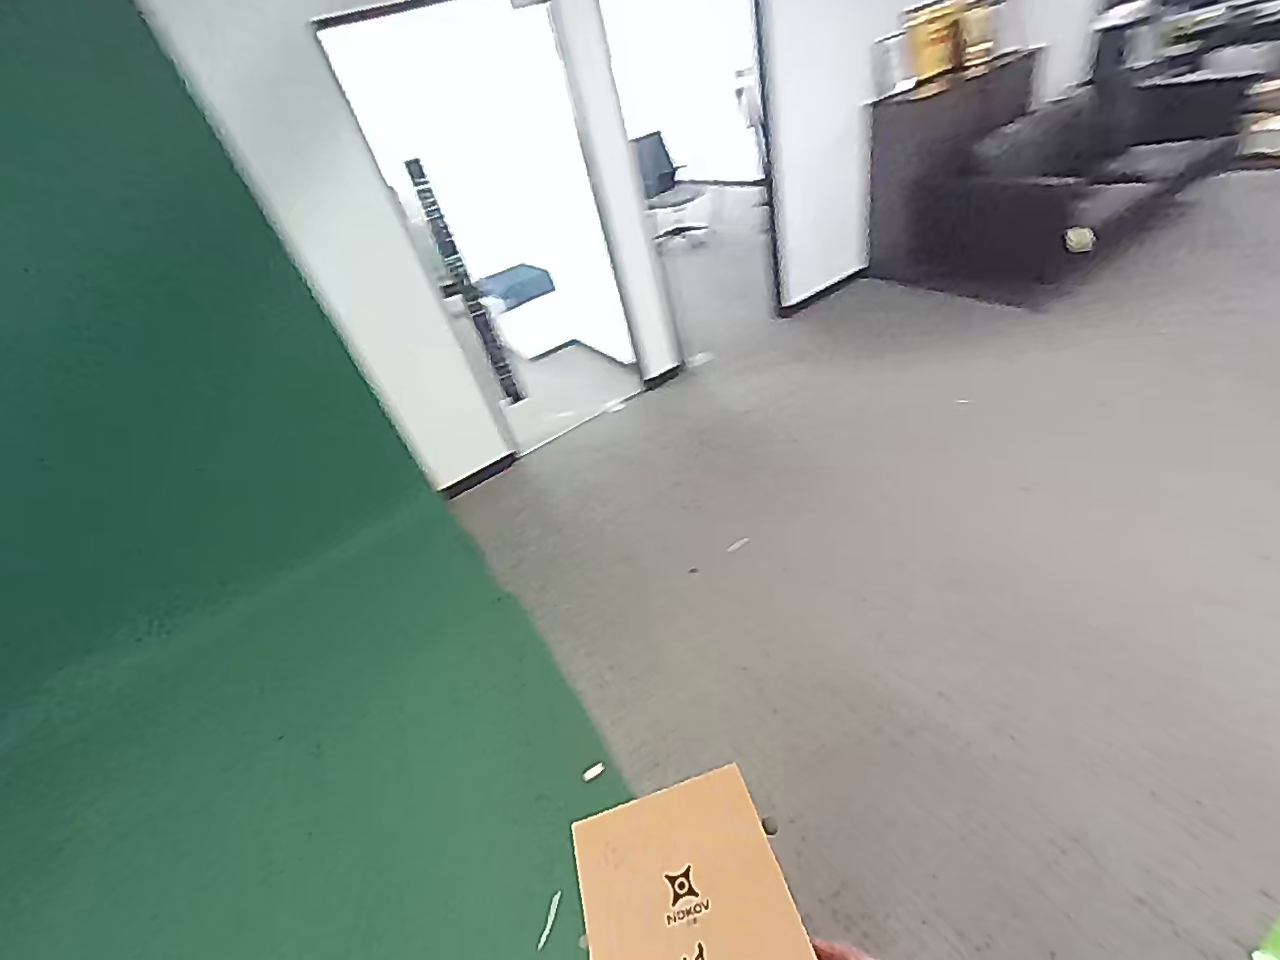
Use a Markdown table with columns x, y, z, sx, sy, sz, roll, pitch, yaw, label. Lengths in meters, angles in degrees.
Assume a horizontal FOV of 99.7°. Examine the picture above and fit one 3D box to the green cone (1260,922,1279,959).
| x | y | z | sx | sy | sz | roll | pitch | yaw | label |
| --- | --- | --- | --- | --- | --- | --- | --- | --- | --- |
| 1.308 | 0.815 | 0.918 | 0.200 | 0.368 | 0.202 | -30 | 40 | -17 | green cone |
